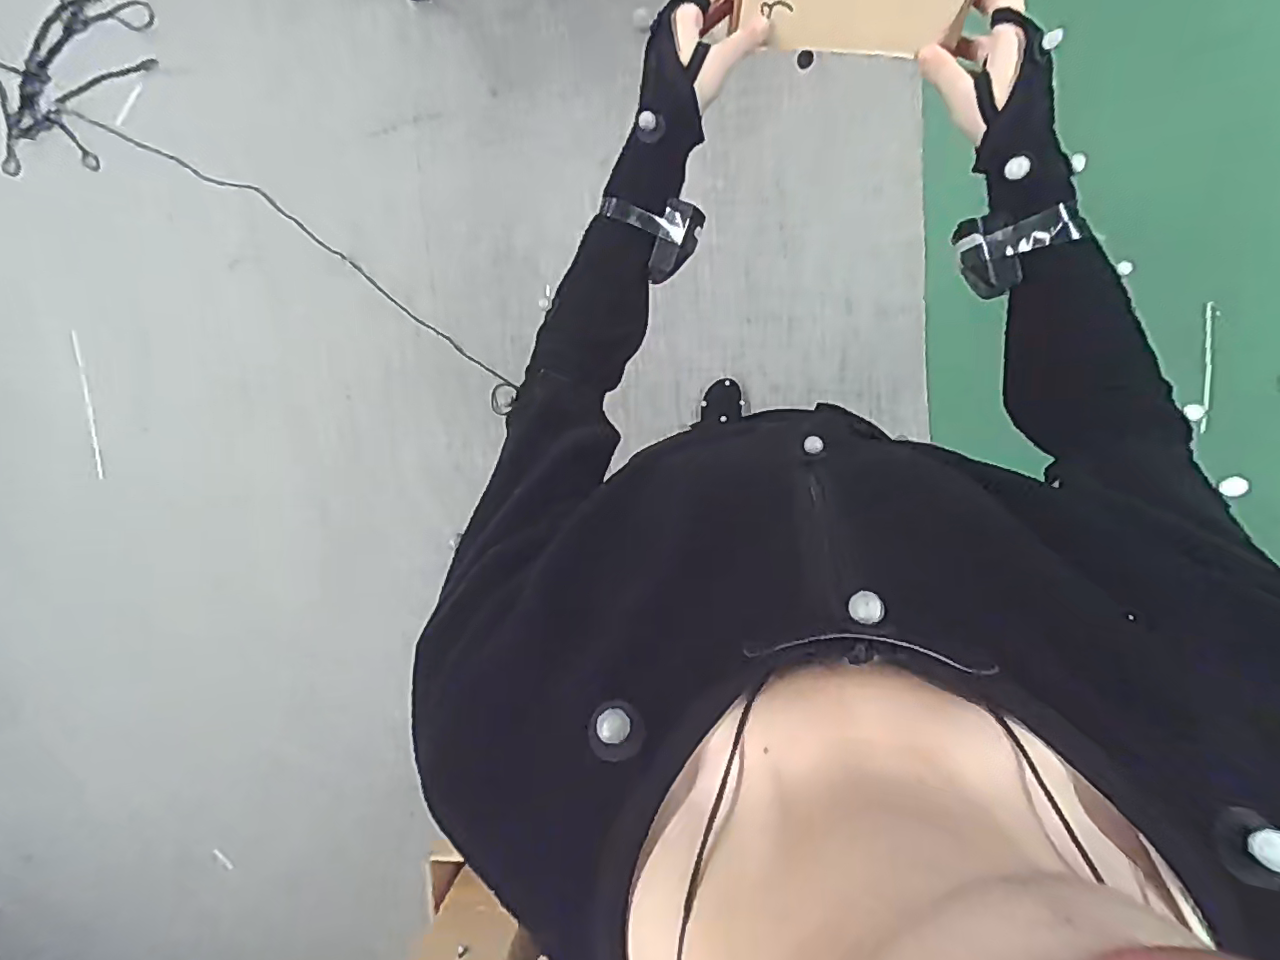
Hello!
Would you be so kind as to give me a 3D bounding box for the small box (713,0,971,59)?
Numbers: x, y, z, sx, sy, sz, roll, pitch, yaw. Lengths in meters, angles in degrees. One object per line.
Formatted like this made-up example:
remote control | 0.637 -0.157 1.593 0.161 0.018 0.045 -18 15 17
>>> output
small box | 0.165 -0.451 0.430 0.179 0.176 0.168 3 130 -3
